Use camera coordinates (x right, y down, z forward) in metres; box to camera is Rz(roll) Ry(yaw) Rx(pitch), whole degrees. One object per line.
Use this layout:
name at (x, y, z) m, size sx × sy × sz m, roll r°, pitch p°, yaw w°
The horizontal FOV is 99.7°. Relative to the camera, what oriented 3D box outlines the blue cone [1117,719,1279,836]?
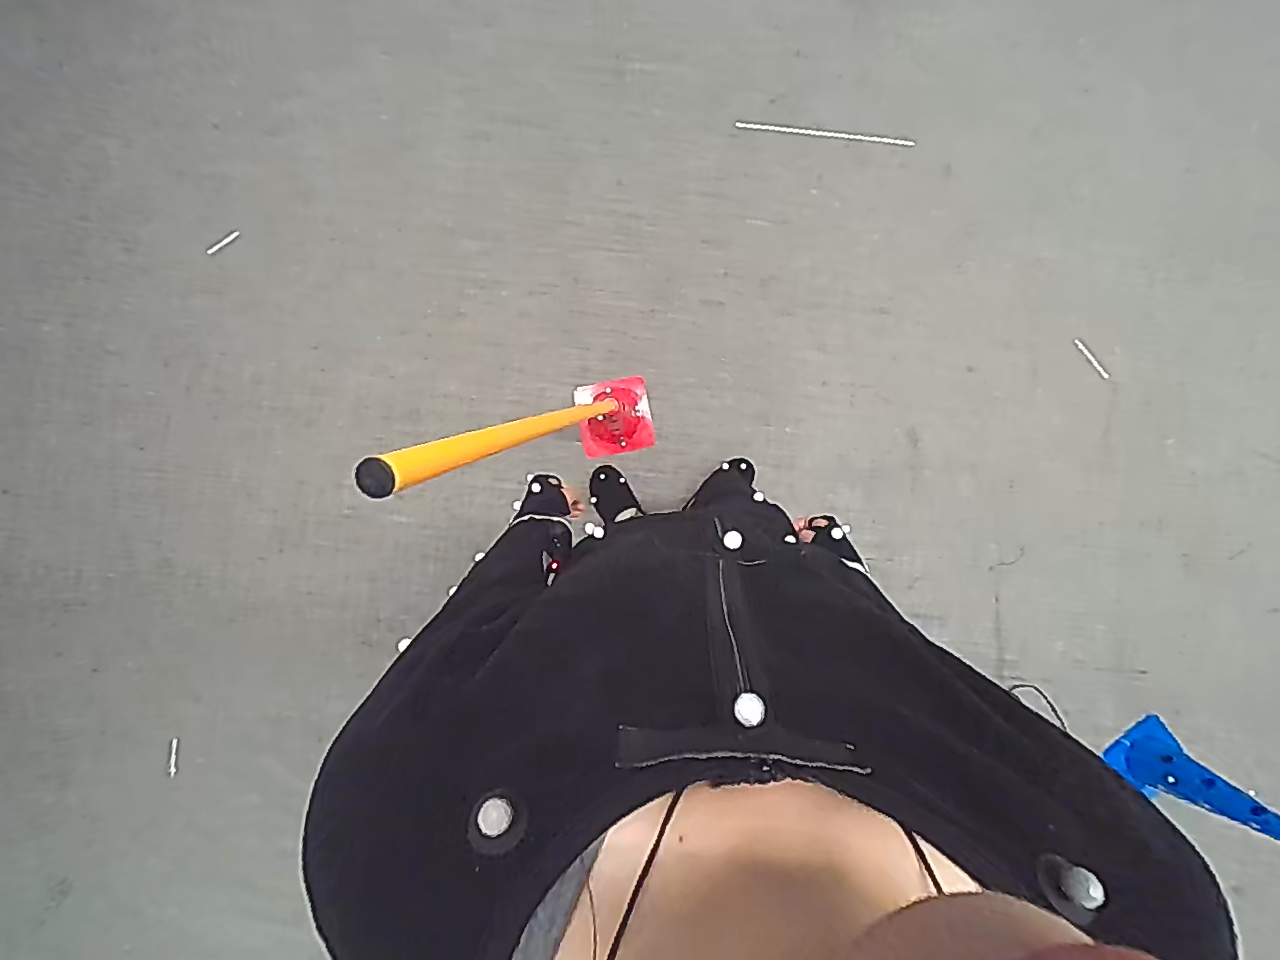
blue cone at (1.476, 0.794, 1.375) m, size 0.193 × 0.380 × 0.192 m, roll -41°, pitch 91°, yaw -2°
